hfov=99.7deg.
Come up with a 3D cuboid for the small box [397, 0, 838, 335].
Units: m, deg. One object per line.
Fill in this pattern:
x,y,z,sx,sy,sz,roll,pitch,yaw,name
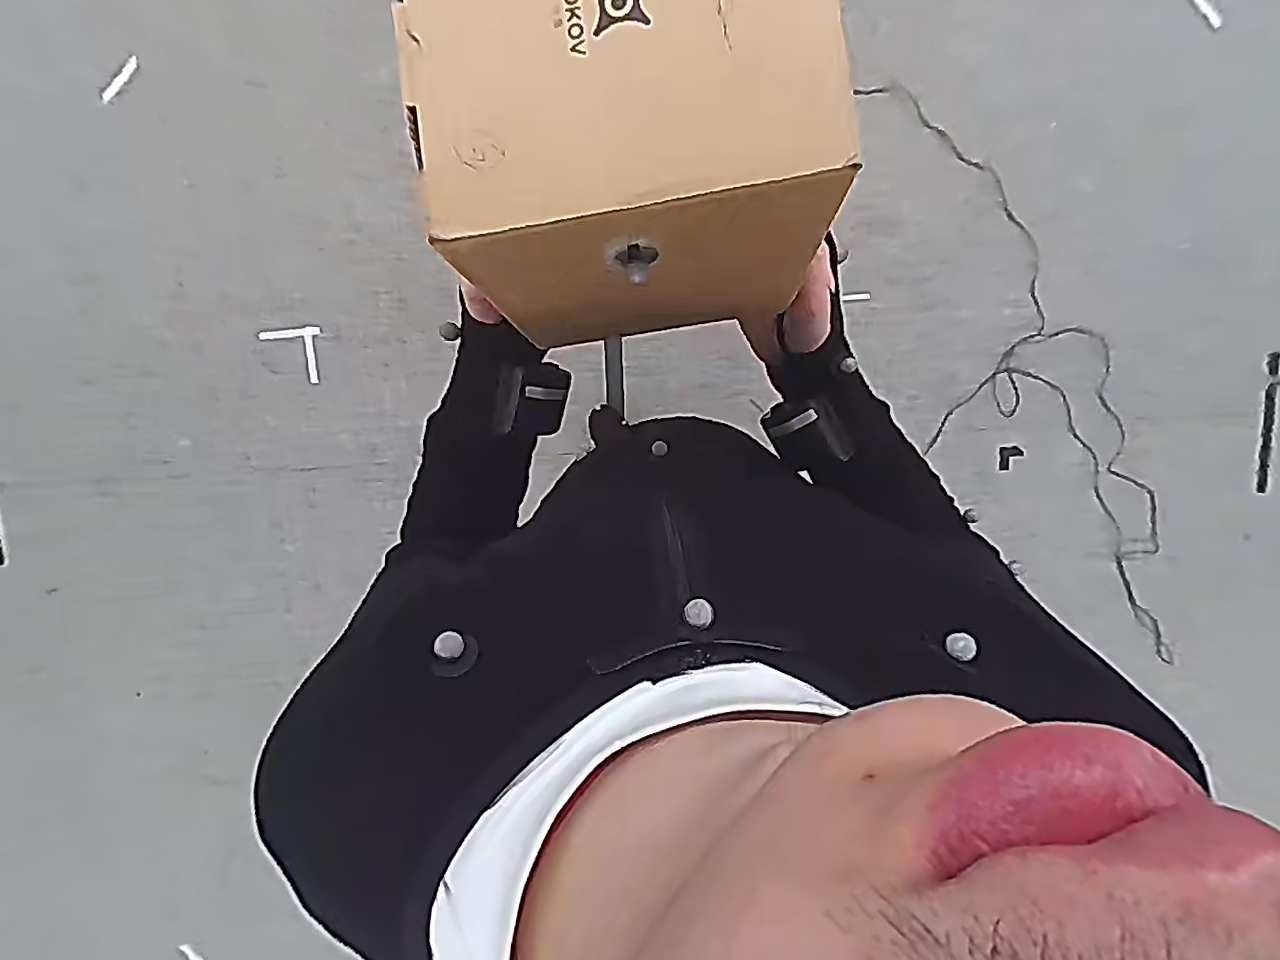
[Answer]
-0.008,-0.193,0.305,0.179,0.176,0.168,-9,89,5,small box
